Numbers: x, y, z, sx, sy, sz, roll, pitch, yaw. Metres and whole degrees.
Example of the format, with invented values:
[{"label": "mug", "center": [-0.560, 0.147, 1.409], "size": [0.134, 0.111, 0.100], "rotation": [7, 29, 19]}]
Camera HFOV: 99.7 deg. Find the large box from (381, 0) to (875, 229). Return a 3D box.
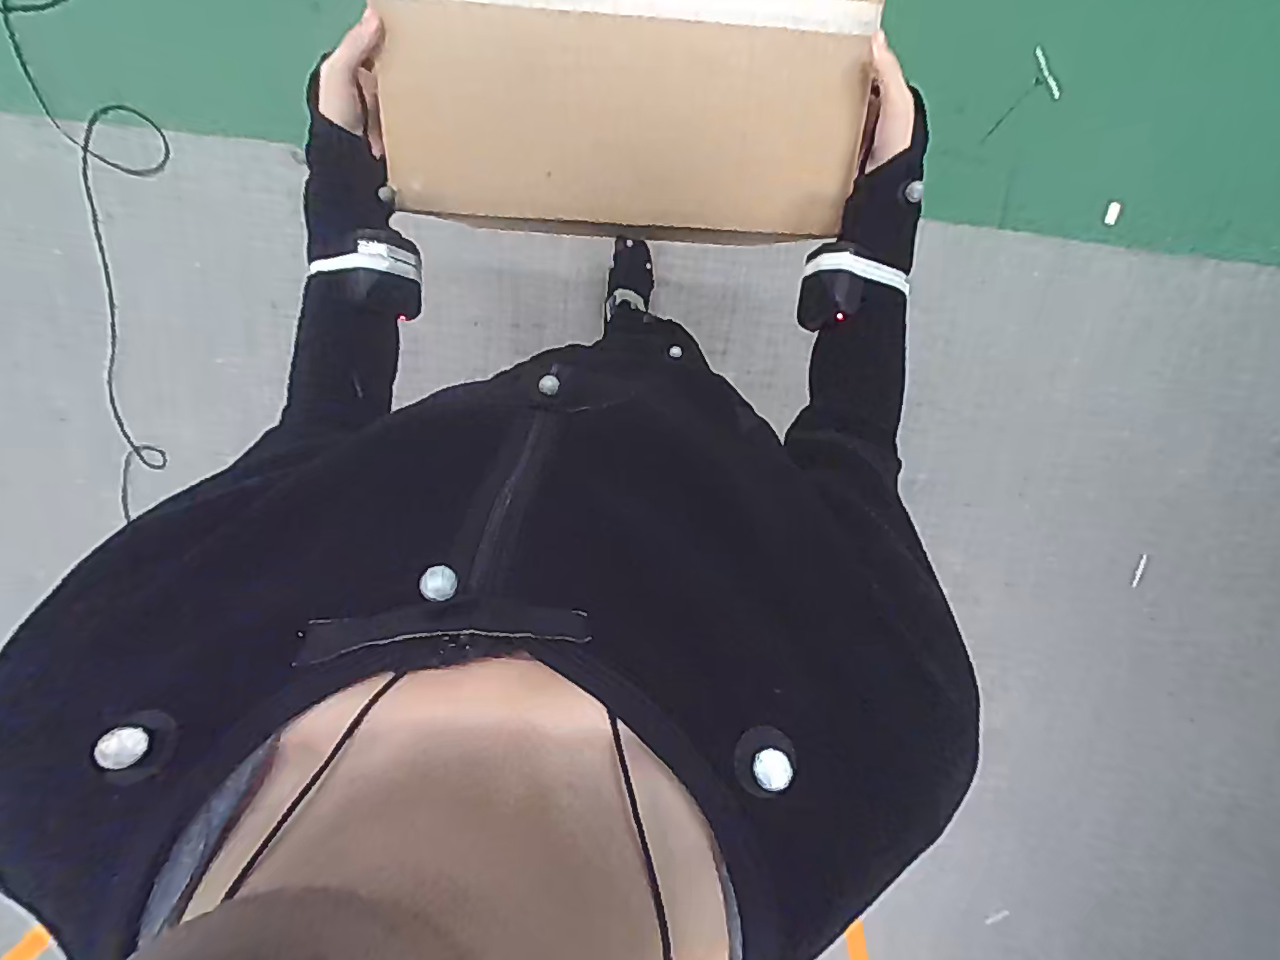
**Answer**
[{"label": "large box", "center": [-0.012, -0.442, 0.569], "size": [0.408, 0.320, 0.320], "rotation": [2, 112, -4]}]
